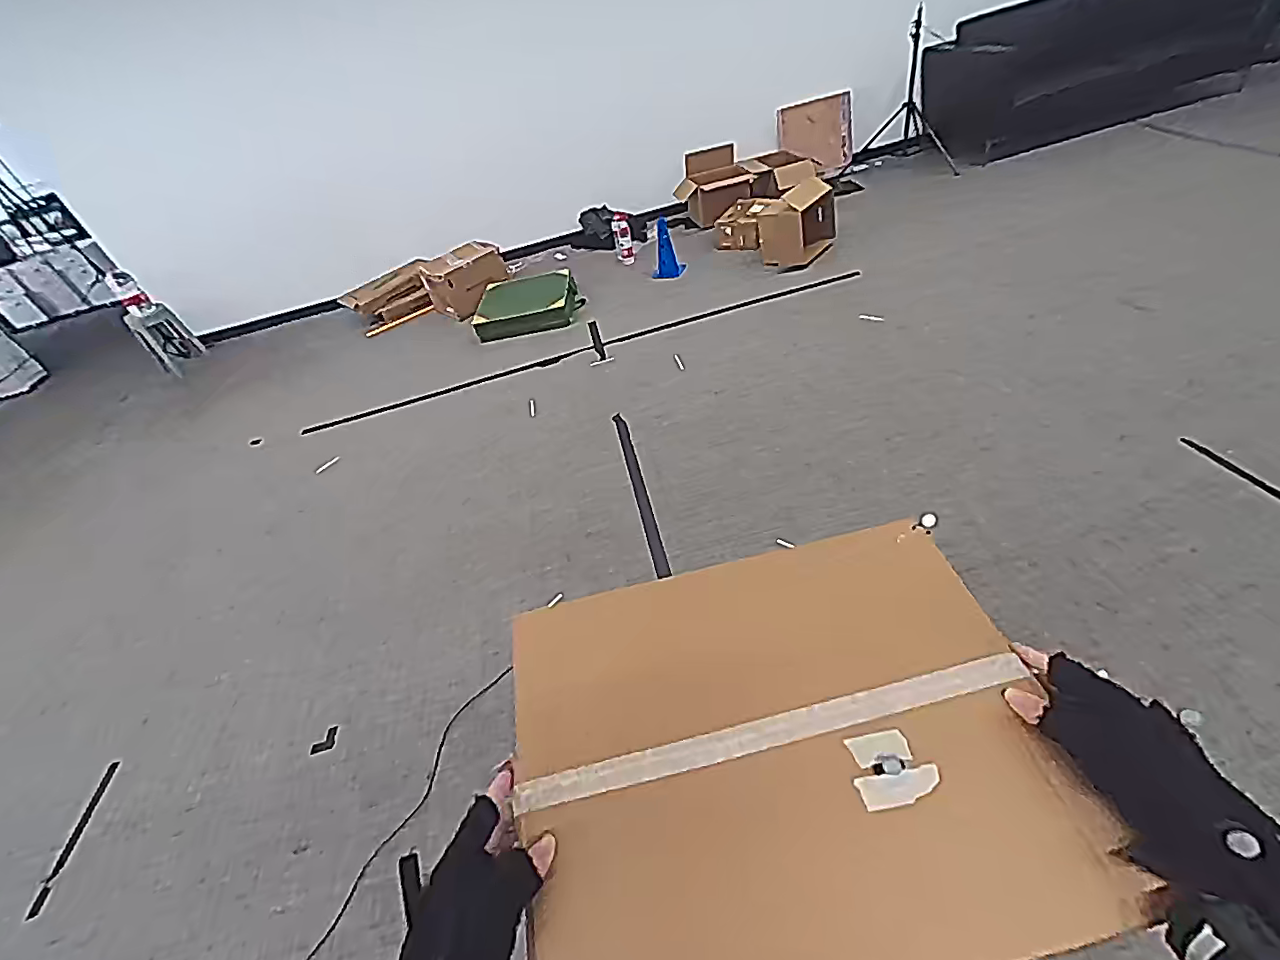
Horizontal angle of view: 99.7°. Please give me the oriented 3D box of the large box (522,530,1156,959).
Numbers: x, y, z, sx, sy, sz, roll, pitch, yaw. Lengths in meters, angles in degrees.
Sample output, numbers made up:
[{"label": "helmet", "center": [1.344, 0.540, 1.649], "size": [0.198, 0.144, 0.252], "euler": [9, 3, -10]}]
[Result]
[{"label": "large box", "center": [0.125, 0.304, 0.541], "size": [0.408, 0.320, 0.320], "euler": [-13, 48, -3]}]
